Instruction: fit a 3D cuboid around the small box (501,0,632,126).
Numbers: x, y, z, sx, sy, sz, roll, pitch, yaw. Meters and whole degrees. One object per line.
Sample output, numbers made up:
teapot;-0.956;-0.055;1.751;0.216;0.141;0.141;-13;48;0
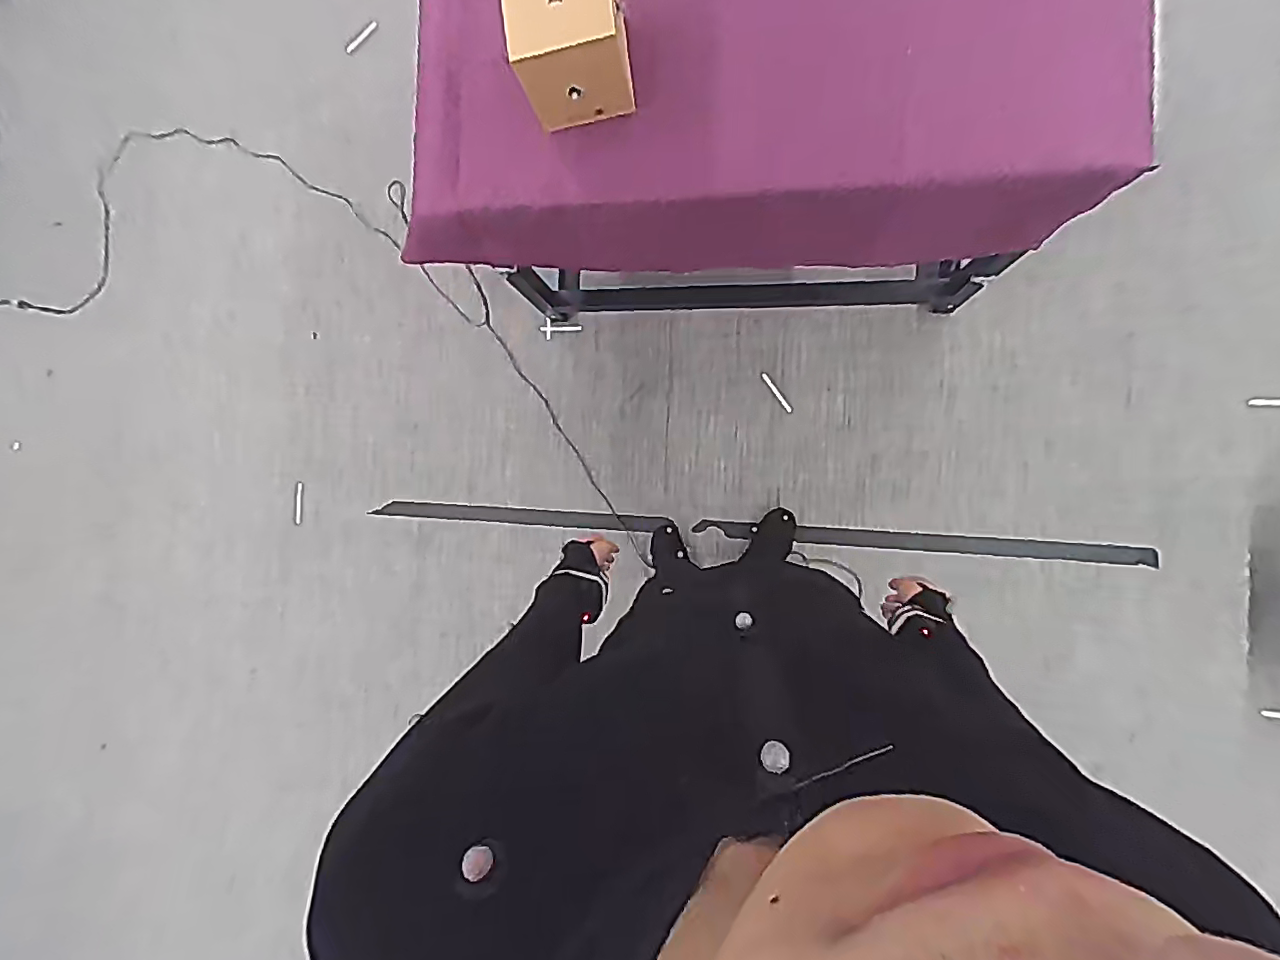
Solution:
small box;-0.112;-0.709;0.871;0.168;0.176;0.179;-7;88;8
